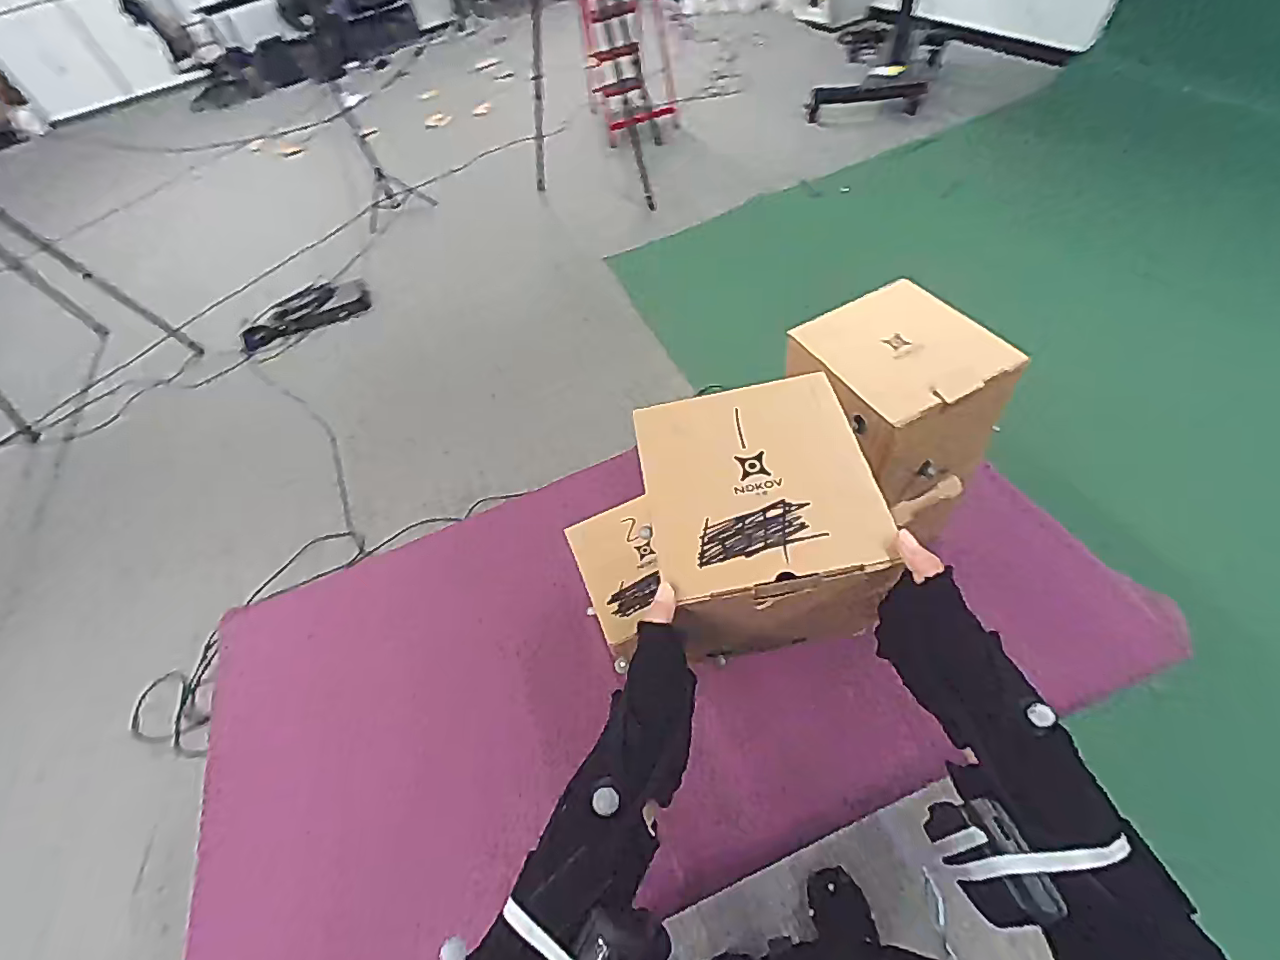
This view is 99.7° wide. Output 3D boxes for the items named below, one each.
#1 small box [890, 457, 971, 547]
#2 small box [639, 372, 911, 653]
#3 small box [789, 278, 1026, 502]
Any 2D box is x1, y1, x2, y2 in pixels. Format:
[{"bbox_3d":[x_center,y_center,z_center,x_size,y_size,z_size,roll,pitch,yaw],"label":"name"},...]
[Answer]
[{"bbox_3d":[0.309,0.003,0.761,0.168,0.176,0.179,-27,53,-8],"label":"small box"},{"bbox_3d":[0.101,0.040,0.467,0.168,0.176,0.179,-11,57,3],"label":"small box"},{"bbox_3d":[0.285,-0.098,0.634,0.168,0.176,0.179,-26,54,-9],"label":"small box"}]
